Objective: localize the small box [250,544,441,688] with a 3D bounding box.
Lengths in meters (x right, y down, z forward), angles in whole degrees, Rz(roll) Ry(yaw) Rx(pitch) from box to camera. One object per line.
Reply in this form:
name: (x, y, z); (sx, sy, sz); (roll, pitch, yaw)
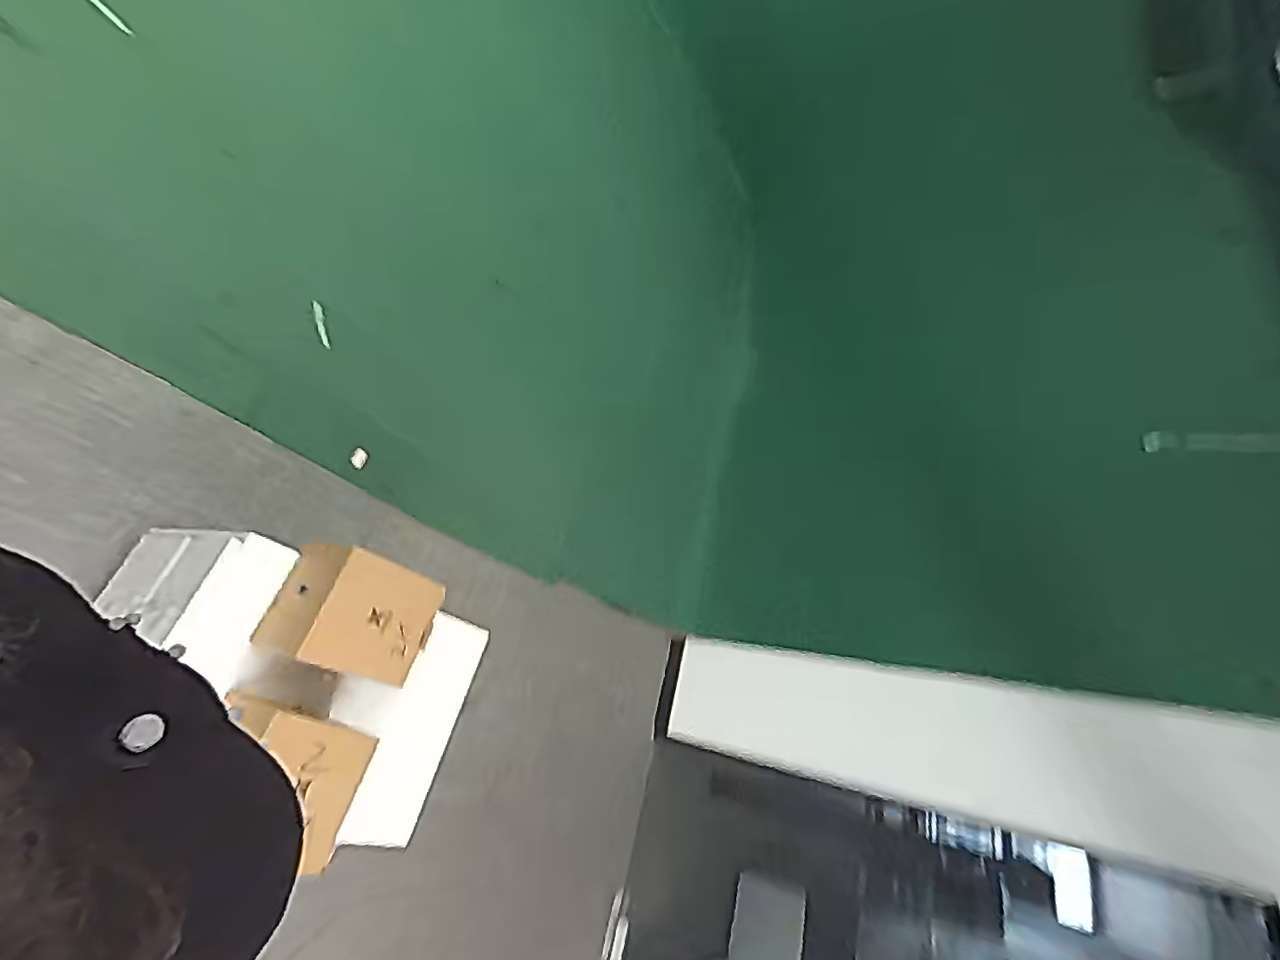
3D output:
small box: (-0.463, 0.209, 0.853); (0.179, 0.176, 0.168); (45, 55, -43)
